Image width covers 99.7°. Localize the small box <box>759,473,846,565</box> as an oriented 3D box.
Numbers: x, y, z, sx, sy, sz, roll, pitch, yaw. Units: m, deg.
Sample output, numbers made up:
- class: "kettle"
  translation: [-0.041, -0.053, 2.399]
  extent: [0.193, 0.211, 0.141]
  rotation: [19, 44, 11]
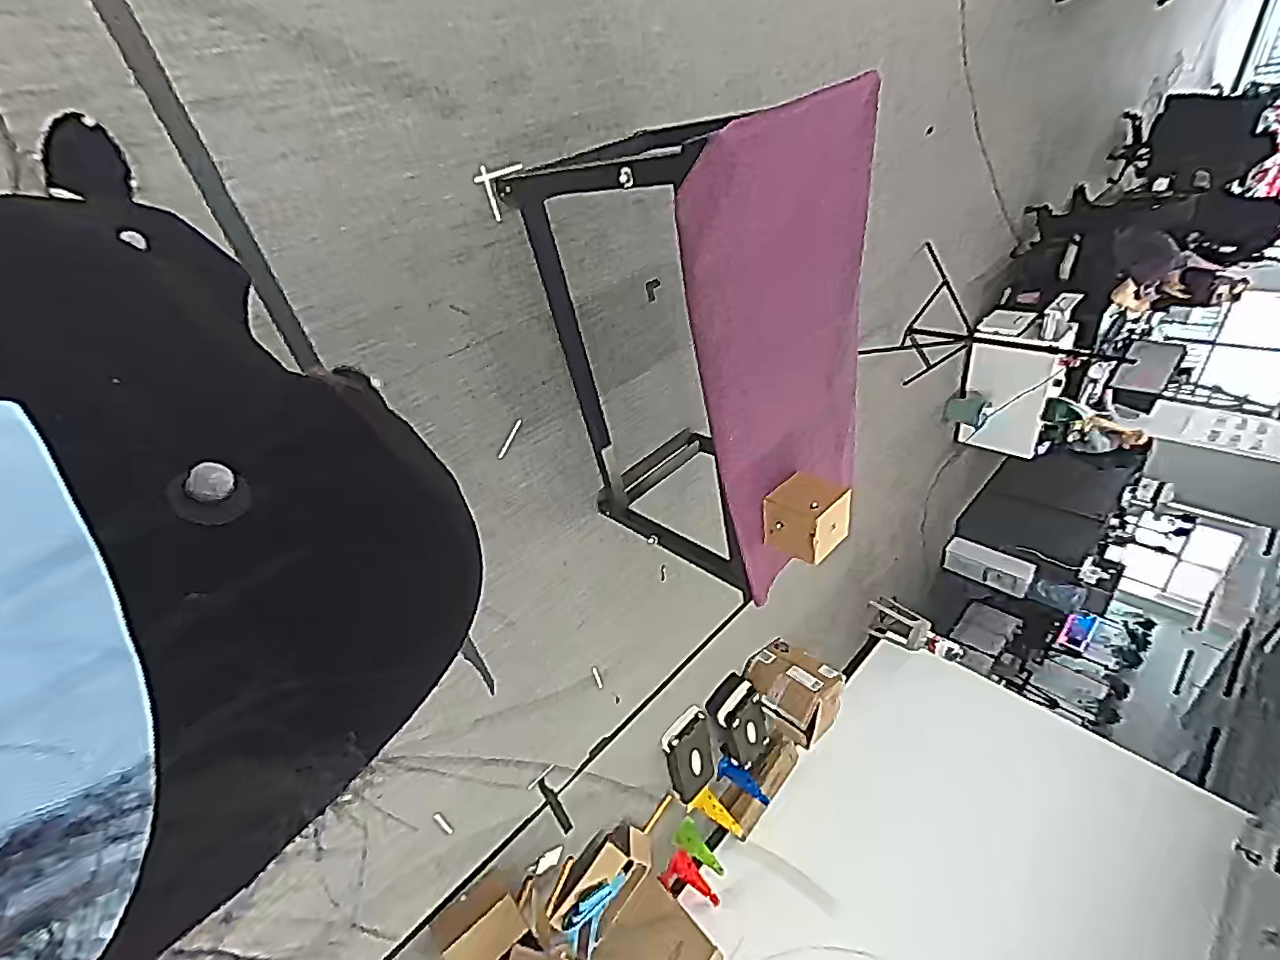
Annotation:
- class: "small box"
  translation: [0.457, 0.102, 1.529]
  extent: [0.179, 0.176, 0.168]
  rotation: [-32, 129, -32]
